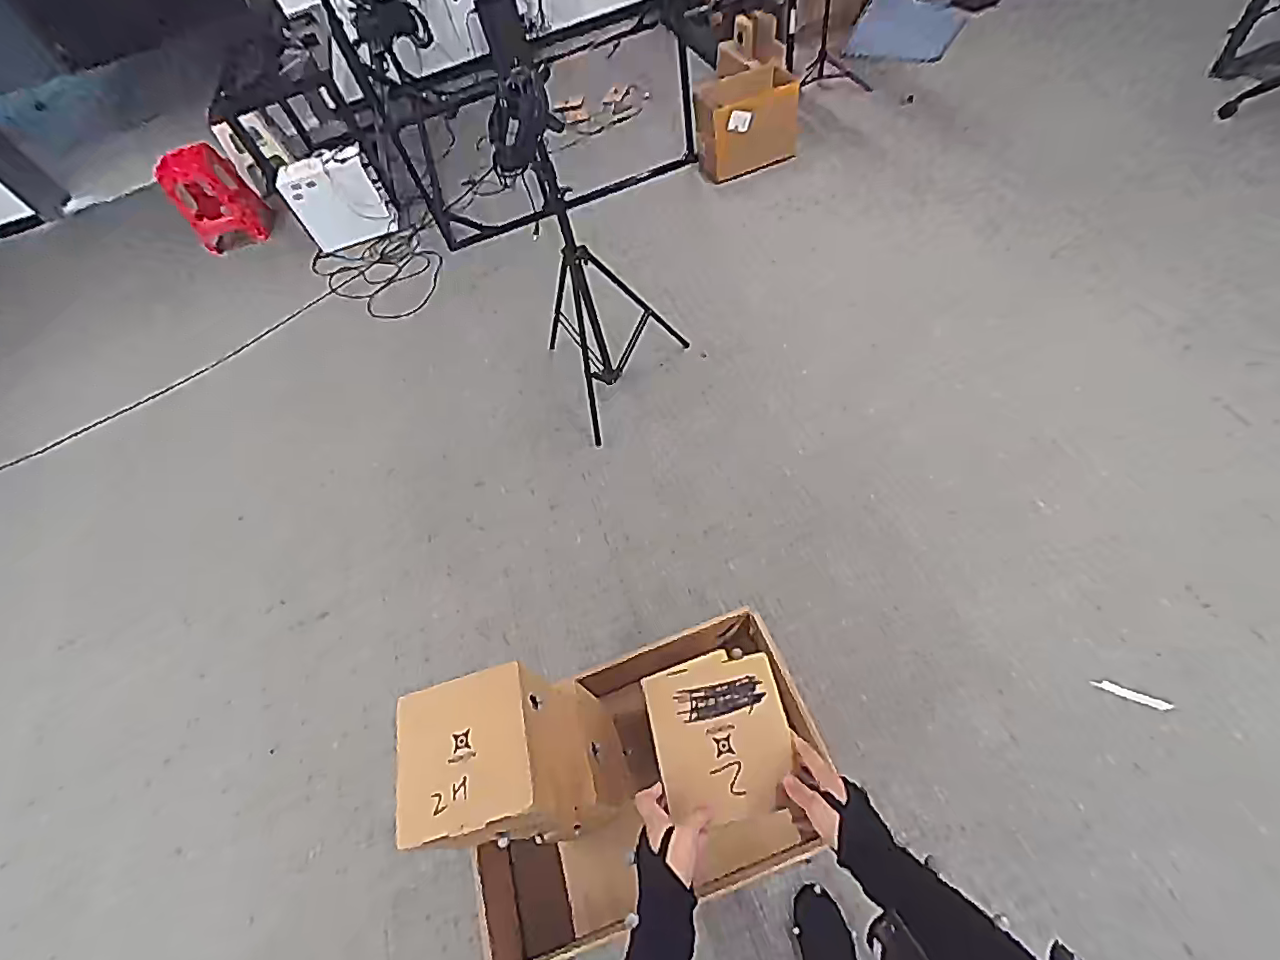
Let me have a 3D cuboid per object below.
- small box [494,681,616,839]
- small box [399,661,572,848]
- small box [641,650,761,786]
[{"bbox_3d":[-0.145,0.448,0.862,0.168,0.176,0.179,-18,55,-1],"label":"small box"},{"bbox_3d":[-0.201,0.370,0.725,0.168,0.176,0.179,-17,56,0],"label":"small box"},{"bbox_3d":[0.114,0.448,1.008,0.168,0.176,0.179,-21,56,-1],"label":"small box"}]
